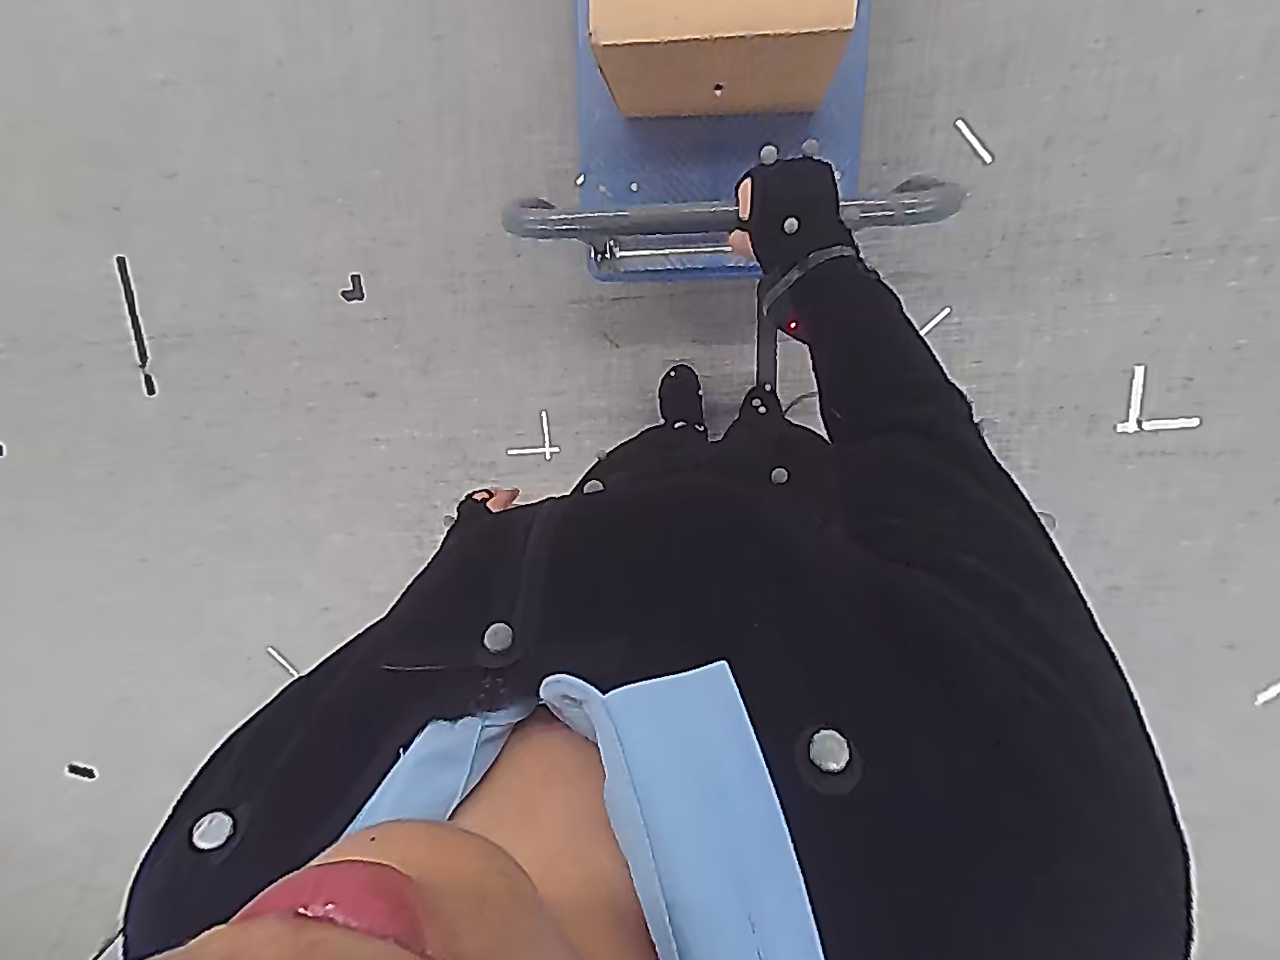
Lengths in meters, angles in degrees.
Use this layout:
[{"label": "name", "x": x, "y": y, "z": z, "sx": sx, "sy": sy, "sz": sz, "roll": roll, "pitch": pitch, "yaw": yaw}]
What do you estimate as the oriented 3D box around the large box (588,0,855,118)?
[{"label": "large box", "x": 0.139, "y": -0.856, "z": 0.922, "sx": 0.408, "sy": 0.320, "sz": 0.320, "roll": 3, "pitch": 104, "yaw": 9}]
